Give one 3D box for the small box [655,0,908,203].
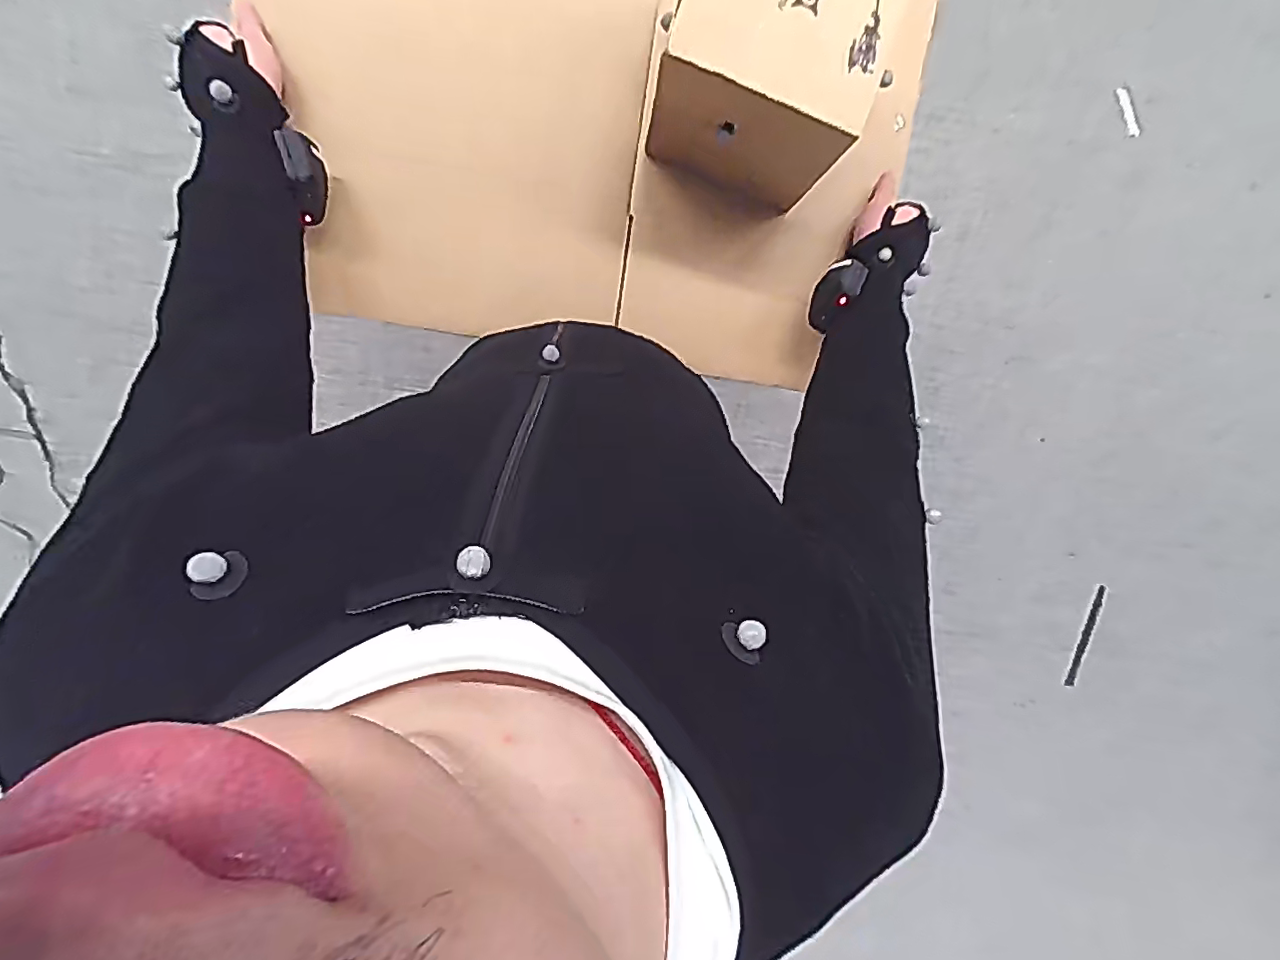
[{"bbox_3d":[0.122,-0.397,0.516,0.179,0.176,0.168,19,95,-6],"label":"small box"}]
